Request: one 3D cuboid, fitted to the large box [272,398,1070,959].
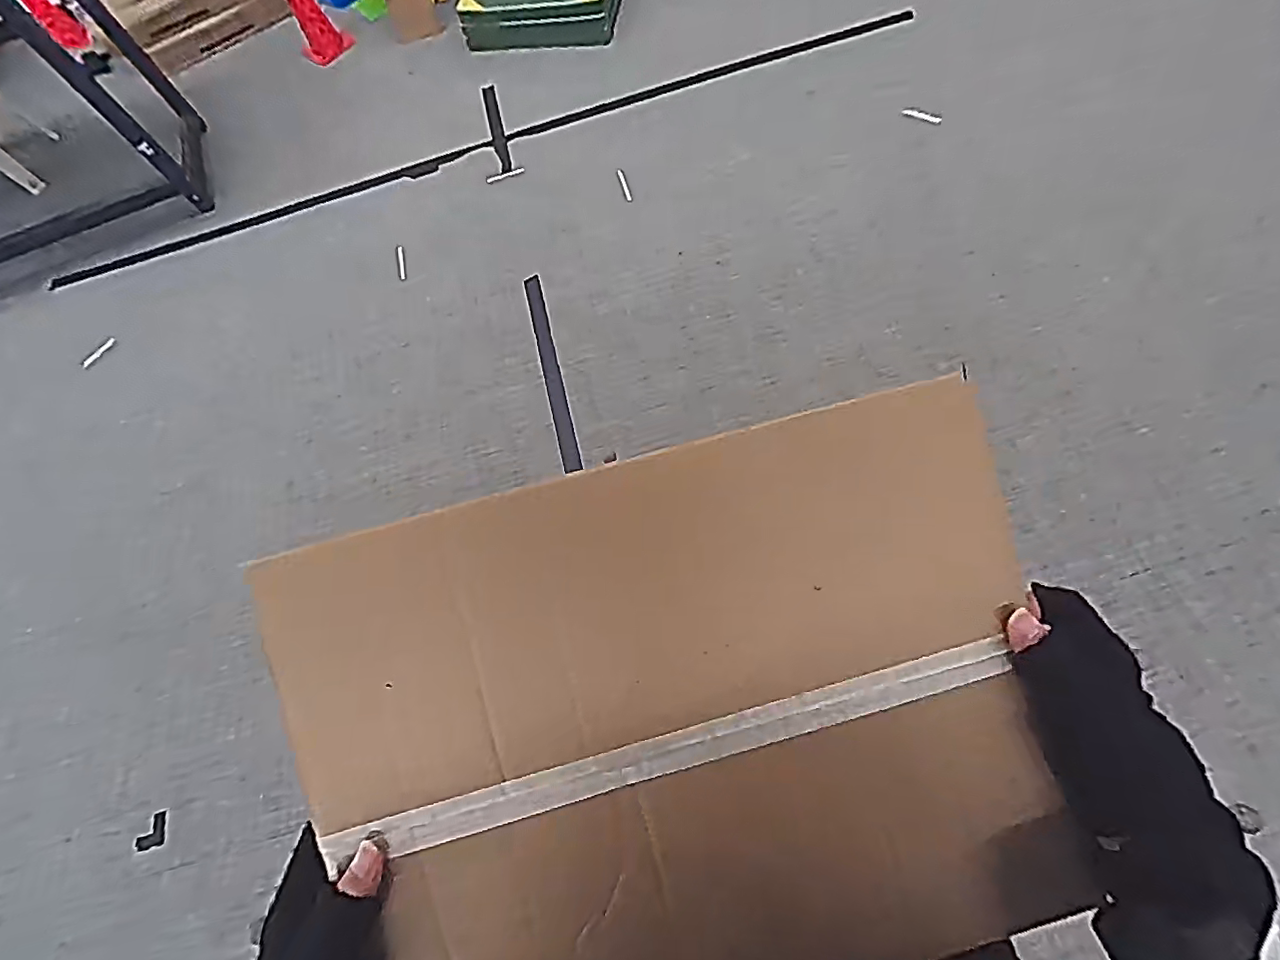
[{"bbox_3d":[0.022,0.148,0.456,0.408,0.320,0.320,-16,91,-3],"label":"large box"}]
